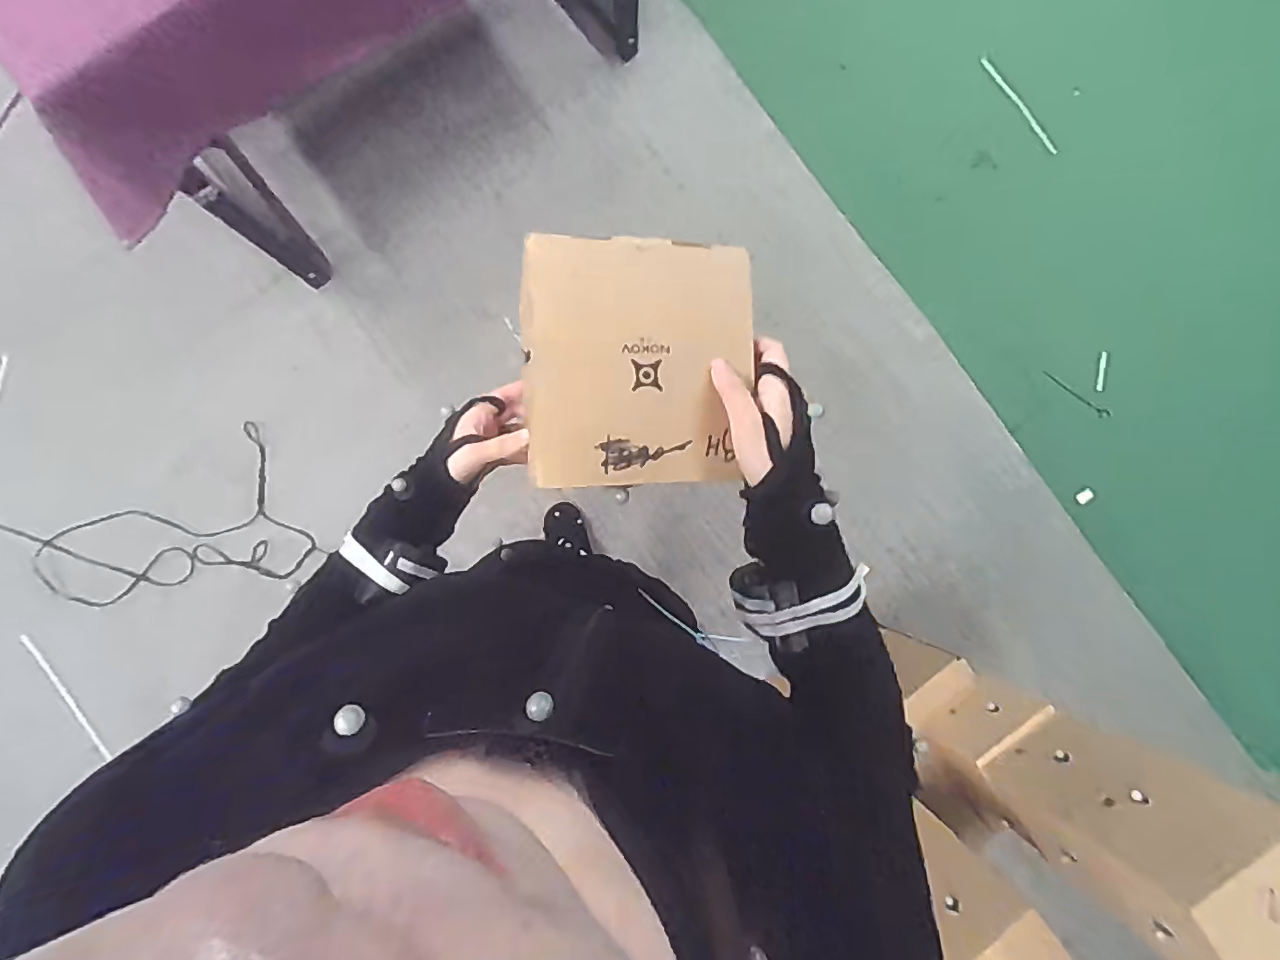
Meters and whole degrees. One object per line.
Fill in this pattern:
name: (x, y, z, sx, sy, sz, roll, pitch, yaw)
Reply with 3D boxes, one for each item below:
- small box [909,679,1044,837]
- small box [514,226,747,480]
small box: (0.641, 0.493, 0.995, 0.168, 0.176, 0.179, -34, 90, -4)
small box: (-0.020, -0.093, 0.466, 0.168, 0.176, 0.179, -3, 94, -14)
